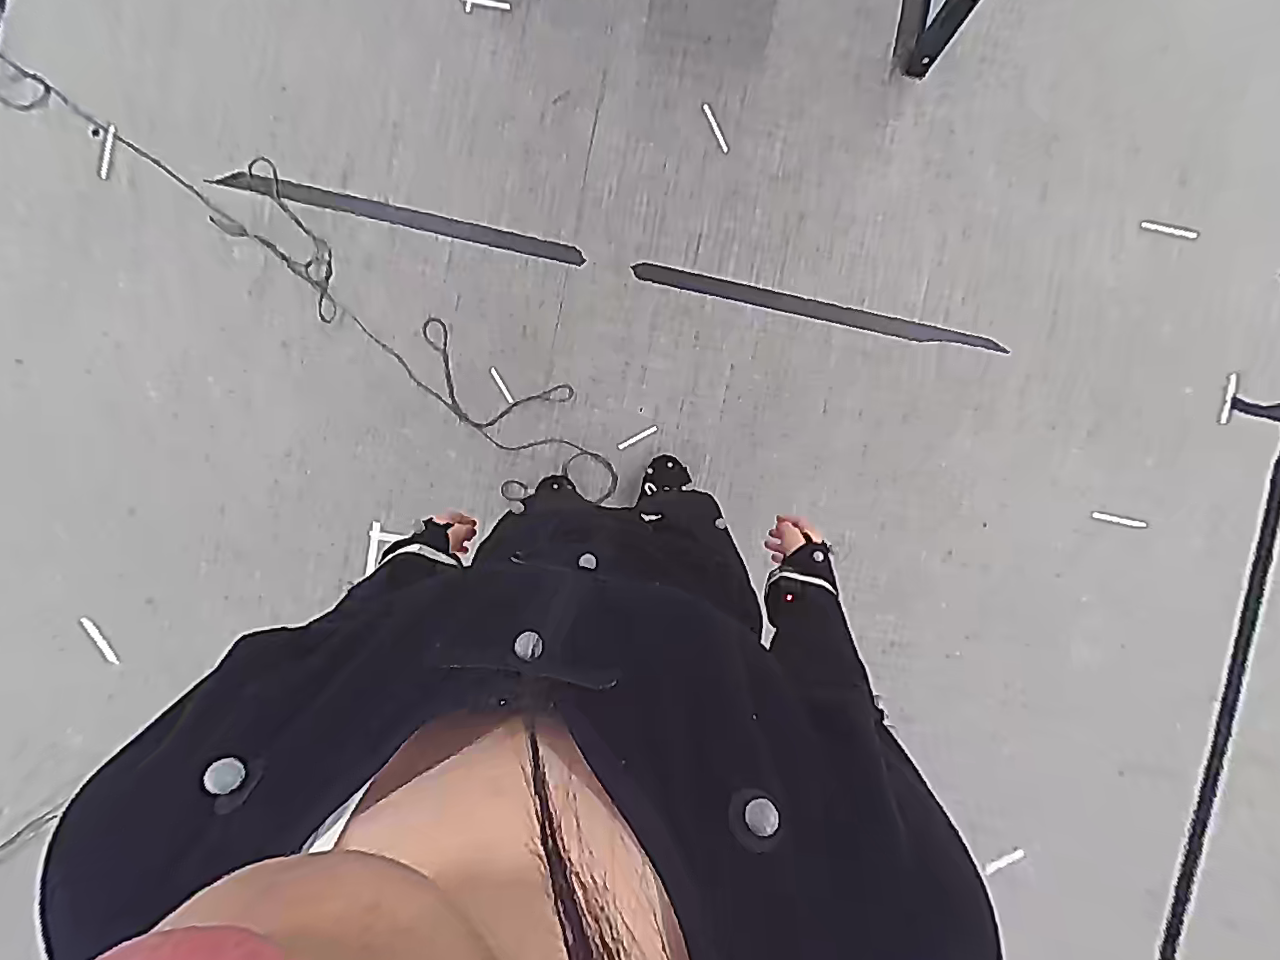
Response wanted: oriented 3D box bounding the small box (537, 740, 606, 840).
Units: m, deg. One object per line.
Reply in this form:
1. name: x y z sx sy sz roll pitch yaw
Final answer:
1. small box: -0.175 0.798 1.412 0.168 0.176 0.179 -1 91 -1

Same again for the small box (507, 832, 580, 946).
1. small box: -0.248 1.069 1.421 0.168 0.176 0.179 2 92 -2
